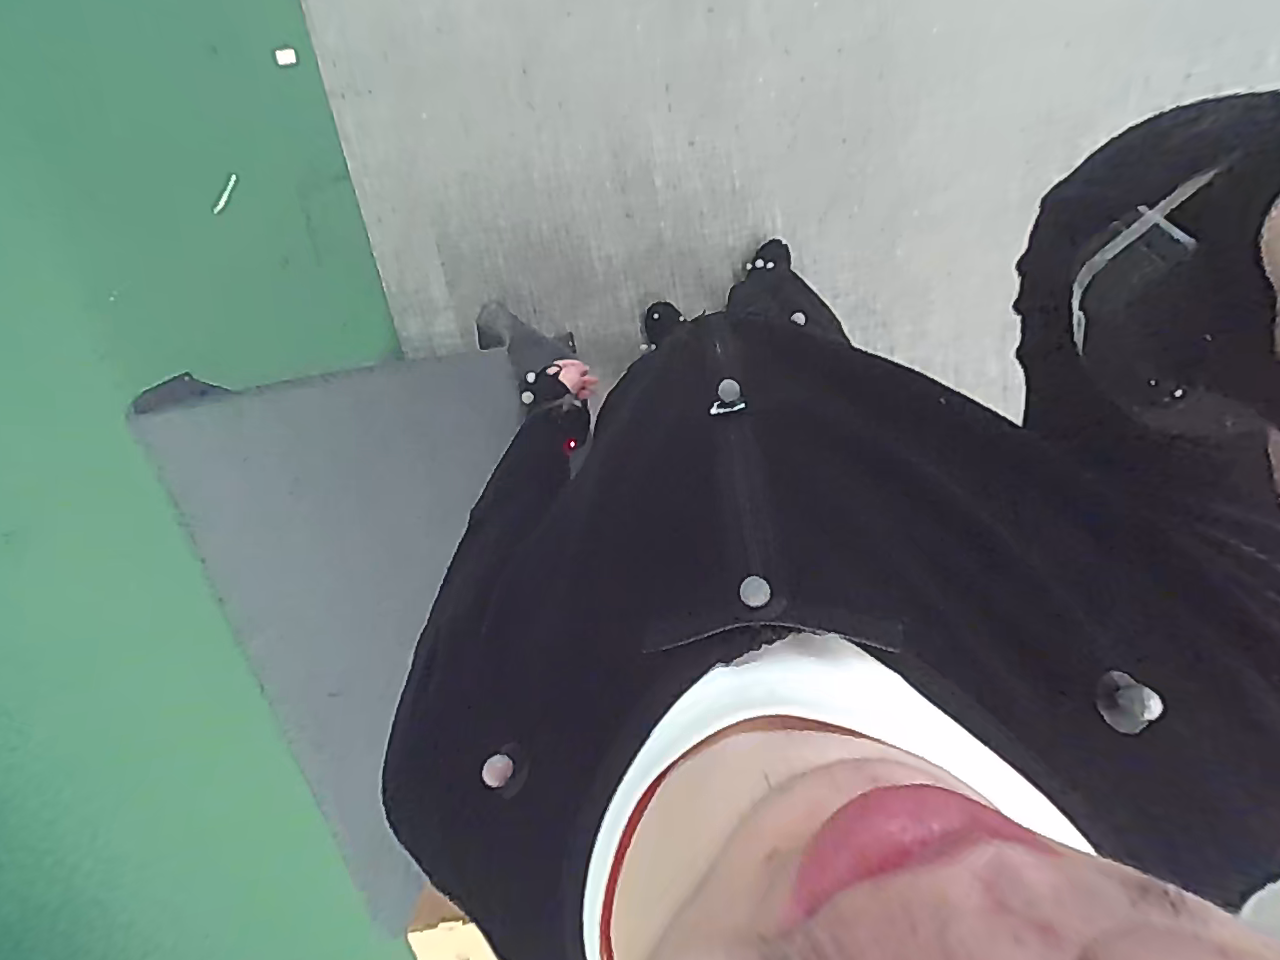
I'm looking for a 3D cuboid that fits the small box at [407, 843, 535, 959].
[{"bbox_3d":[-0.314,0.834,1.042,0.168,0.176,0.179,-10,106,5],"label":"small box"}]
